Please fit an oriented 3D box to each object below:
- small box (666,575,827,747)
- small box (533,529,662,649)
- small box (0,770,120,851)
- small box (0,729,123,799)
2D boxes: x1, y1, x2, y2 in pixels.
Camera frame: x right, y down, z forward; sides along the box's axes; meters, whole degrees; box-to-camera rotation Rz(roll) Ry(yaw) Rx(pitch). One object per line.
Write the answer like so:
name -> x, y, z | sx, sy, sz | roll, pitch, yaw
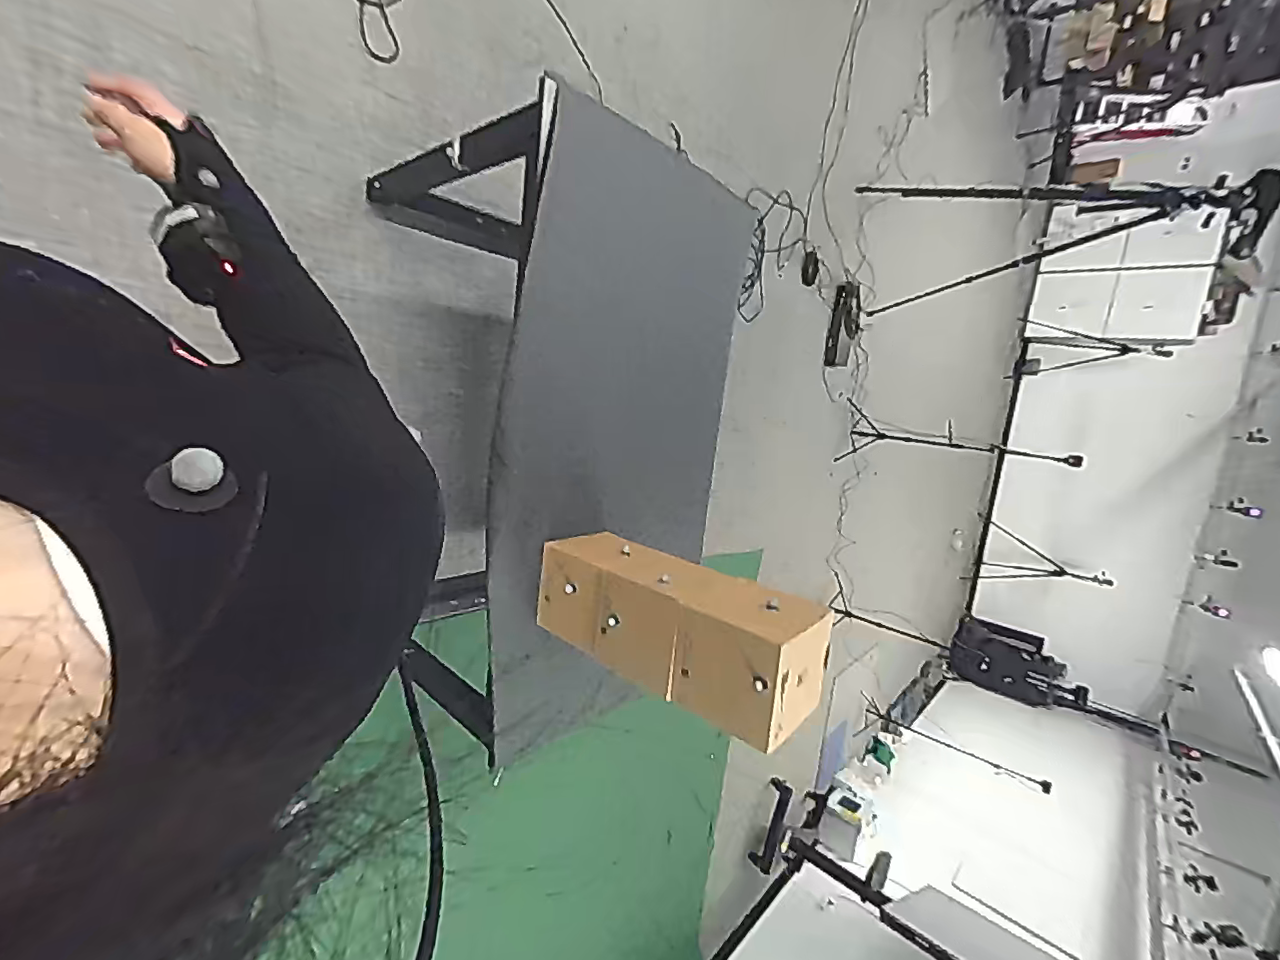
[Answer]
small box -> 0.163, 0.259, 0.827 | 0.179, 0.176, 0.168 | -9, 107, -49
small box -> -0.084, 0.198, 1.036 | 0.179, 0.176, 0.168 | -4, 104, -50
small box -> -1.060, 0.635, 0.928 | 0.179, 0.176, 0.168 | -58, 135, -19
small box -> -1.159, 0.608, 1.057 | 0.168, 0.176, 0.179 | 22, 85, -49
